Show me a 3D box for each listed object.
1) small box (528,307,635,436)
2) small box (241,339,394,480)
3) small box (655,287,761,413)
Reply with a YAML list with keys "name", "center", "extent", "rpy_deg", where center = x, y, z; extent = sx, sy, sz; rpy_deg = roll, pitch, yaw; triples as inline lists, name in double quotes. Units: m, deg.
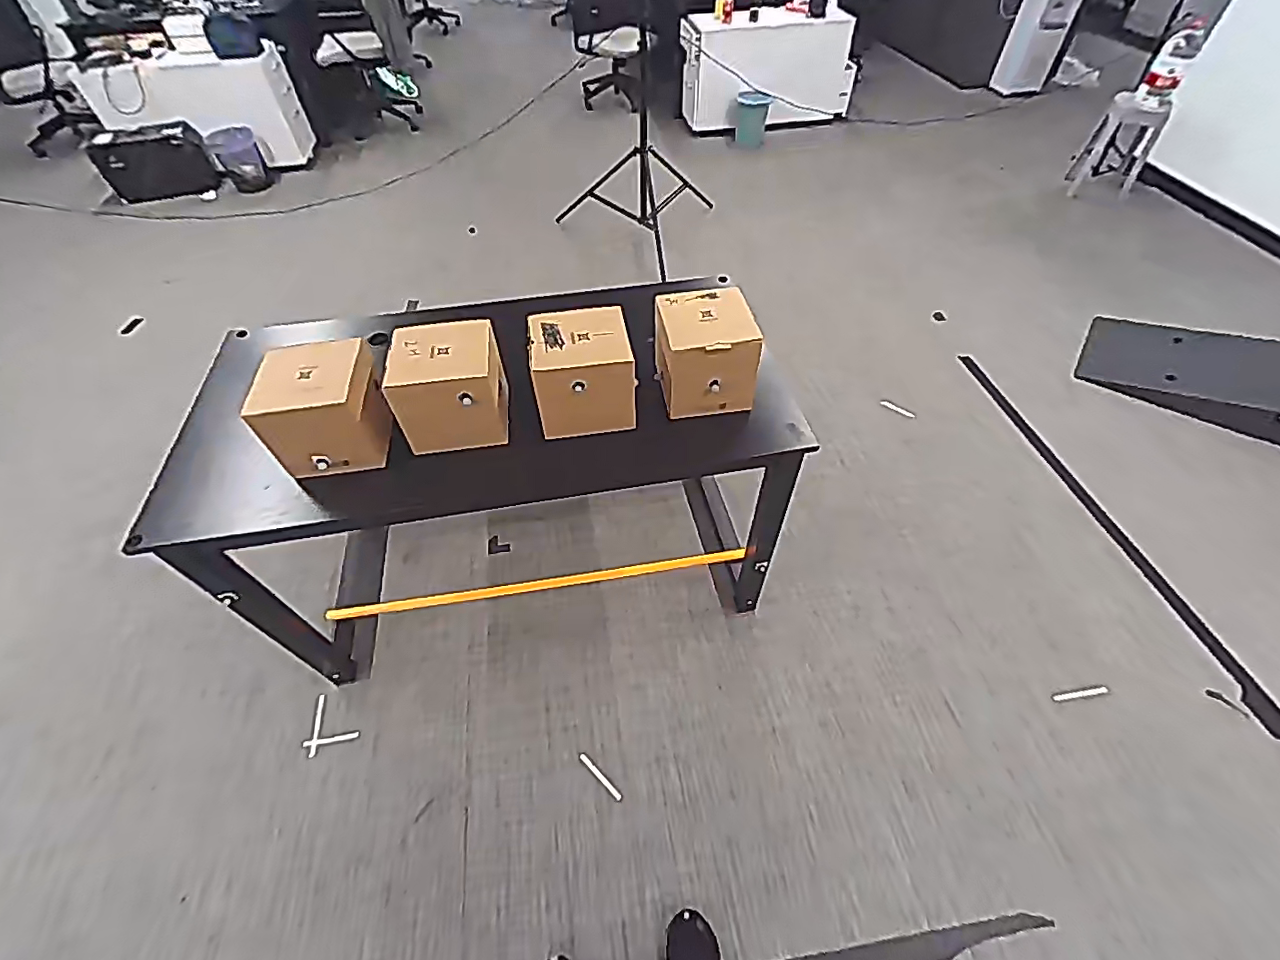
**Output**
- name: "small box"
  center: [-0.108, -0.199, 1.015]
  extent: [0.179, 0.176, 0.168]
  rpy_deg: [-7, 51, -6]
- name: "small box"
  center: [-0.560, -0.125, 0.969]
  extent: [0.168, 0.176, 0.179]
  rpy_deg: [-10, 52, -5]
- name: "small box"
  center: [0.123, -0.244, 1.044]
  extent: [0.168, 0.176, 0.179]
  rpy_deg: [-7, 52, -5]
